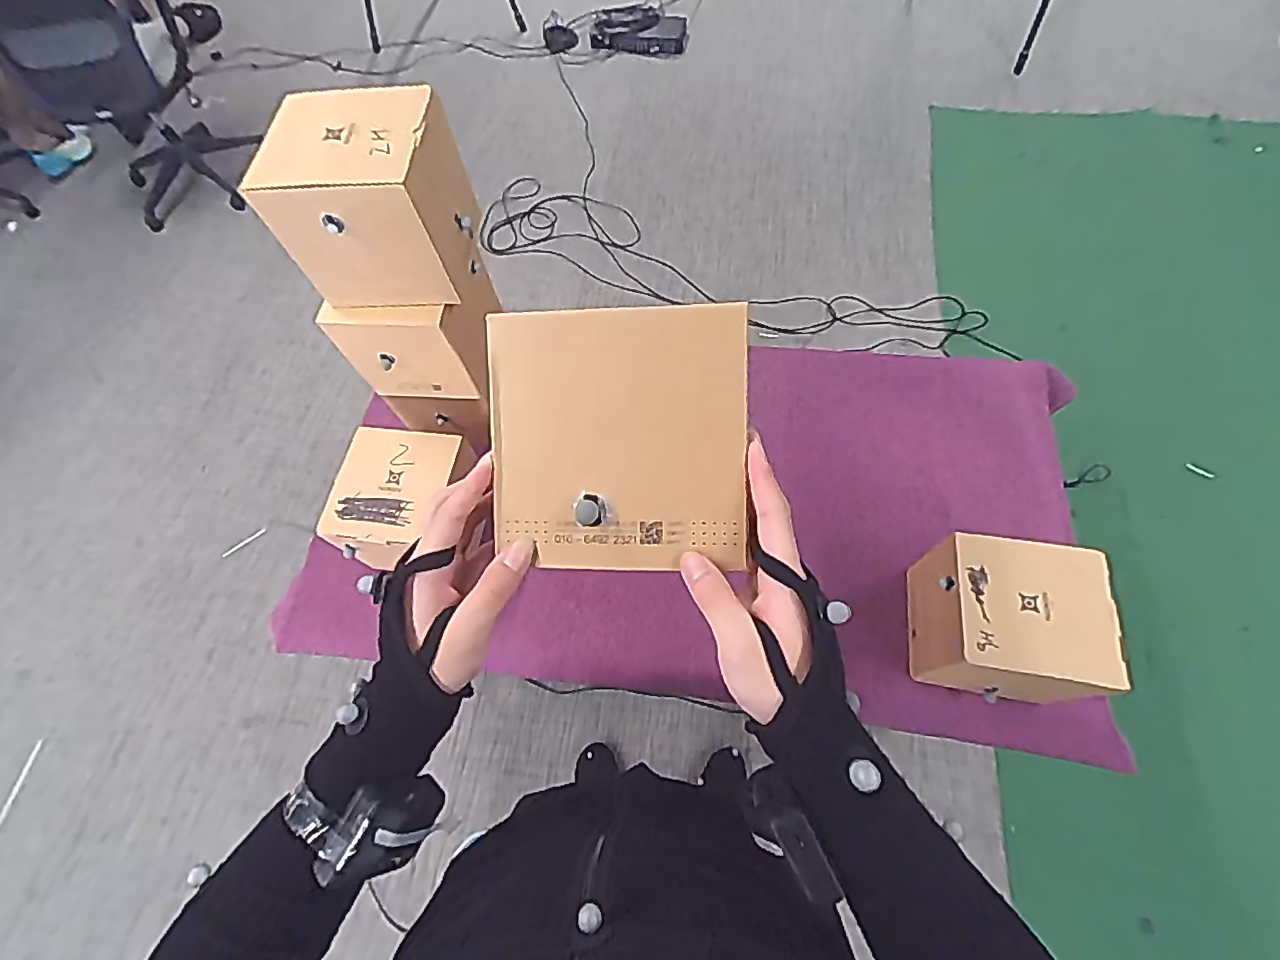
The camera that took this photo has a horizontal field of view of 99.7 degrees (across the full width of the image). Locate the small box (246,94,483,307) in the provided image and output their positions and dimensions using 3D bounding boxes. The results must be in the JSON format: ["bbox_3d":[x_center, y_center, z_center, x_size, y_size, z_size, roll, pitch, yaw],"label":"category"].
[{"bbox_3d":[-0.311,-0.327,0.653,0.179,0.176,0.168,0,64,3],"label":"small box"}]

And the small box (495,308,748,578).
[{"bbox_3d":[-0.004,-0.027,0.426,0.168,0.179,0.176,-1,94,7],"label":"small box"}]

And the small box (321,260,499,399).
[{"bbox_3d":[-0.317,-0.234,0.791,0.168,0.176,0.179,3,64,5],"label":"small box"}]

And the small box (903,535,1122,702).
[{"bbox_3d":[0.472,0.190,0.718,0.179,0.176,0.168,8,63,8],"label":"small box"}]
